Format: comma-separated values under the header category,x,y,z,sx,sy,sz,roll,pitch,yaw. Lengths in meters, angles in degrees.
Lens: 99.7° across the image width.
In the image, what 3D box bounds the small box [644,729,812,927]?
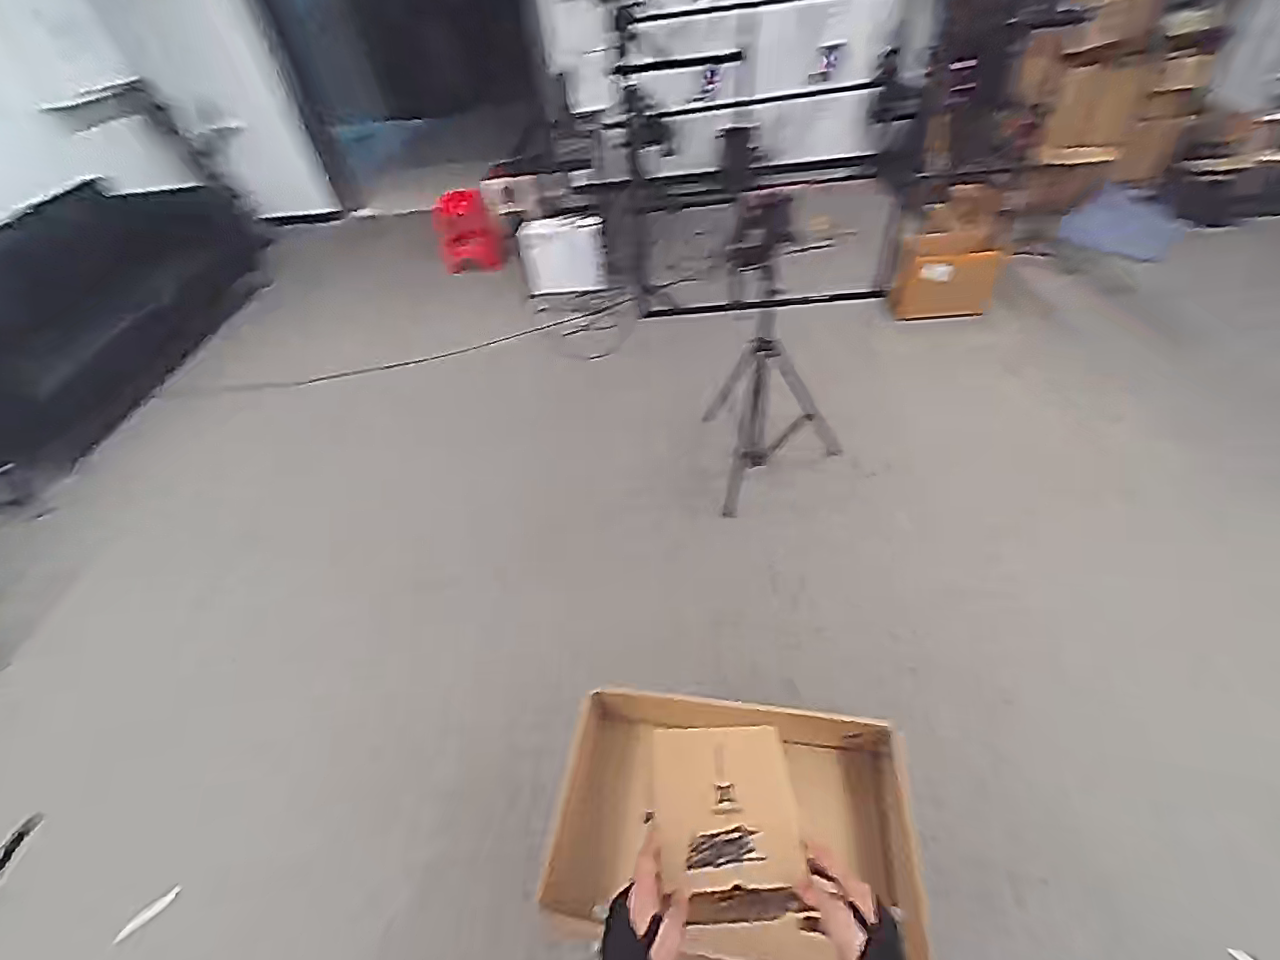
category,x,y,z,sx,sy,sz,roll,pitch,yaw
small box,0.095,0.439,0.681,0.168,0.176,0.179,0,41,-5
